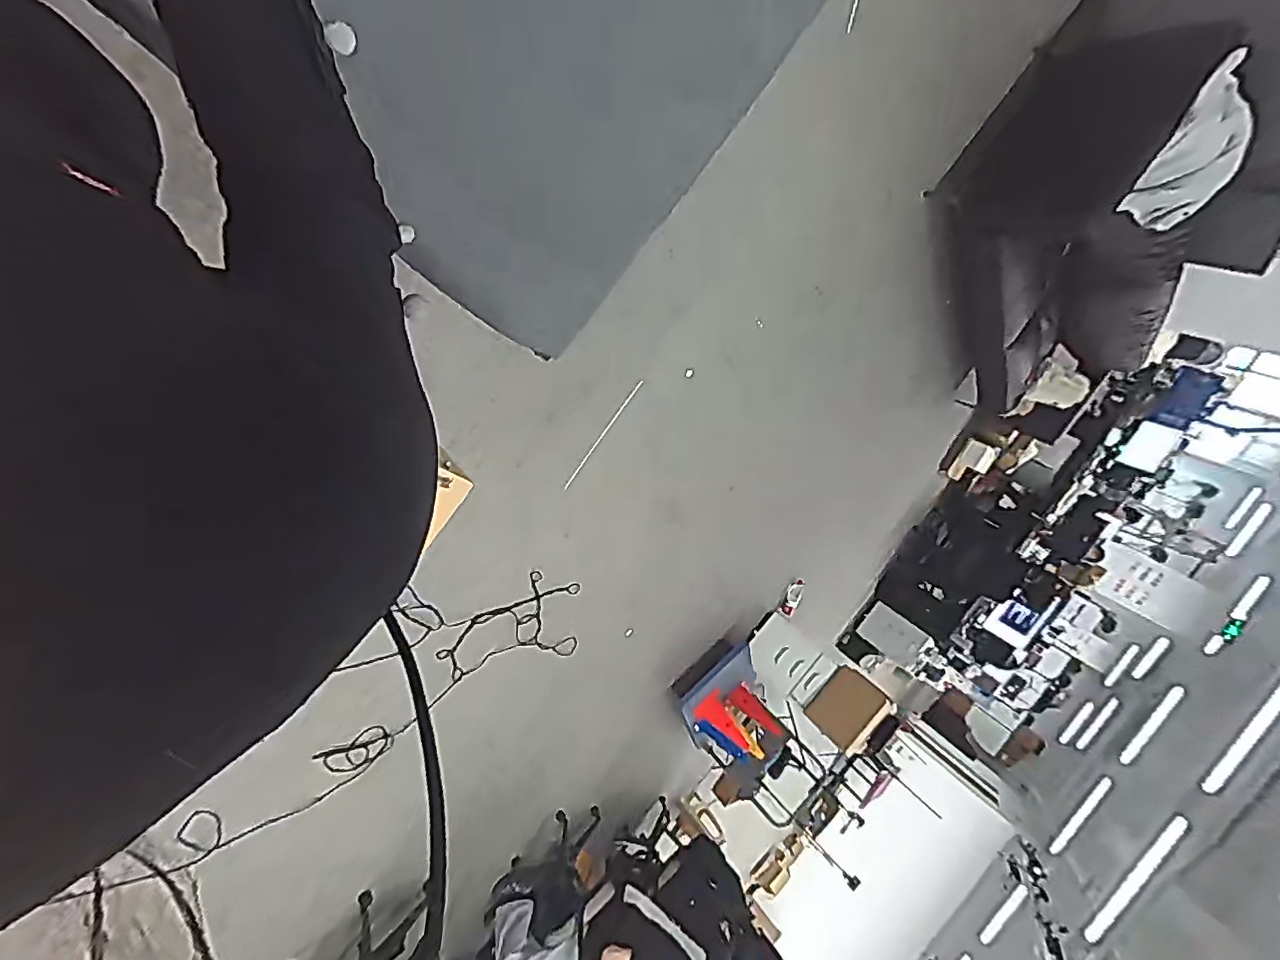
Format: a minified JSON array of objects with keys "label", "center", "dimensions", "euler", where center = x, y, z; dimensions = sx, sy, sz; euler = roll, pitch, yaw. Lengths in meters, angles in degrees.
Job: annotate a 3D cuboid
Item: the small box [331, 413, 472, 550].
[{"label":"small box","center":[-0.468,0.003,1.052],"dimensions":[0.179,0.176,0.168],"euler":[-52,142,1]}]
